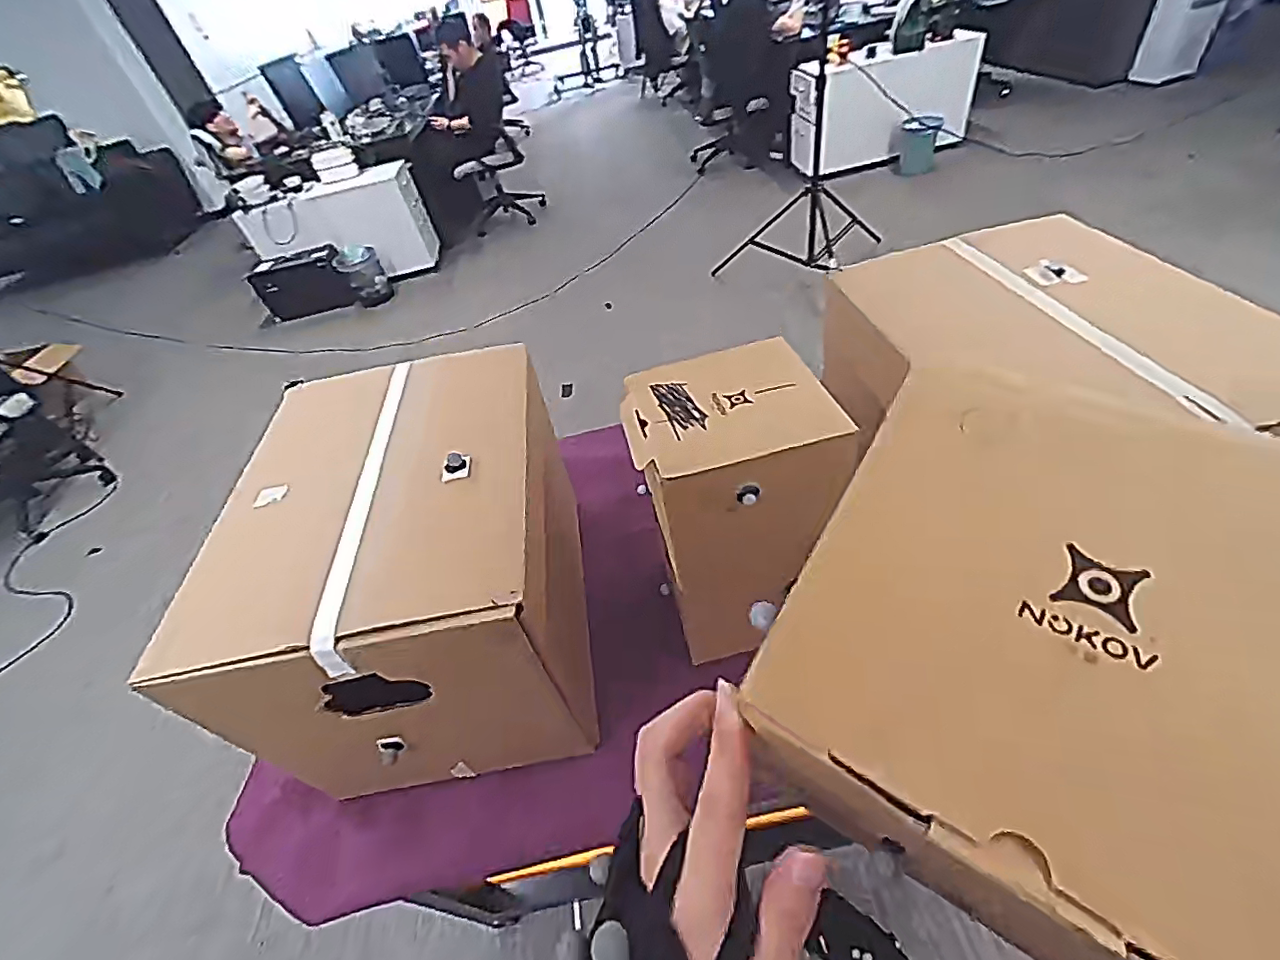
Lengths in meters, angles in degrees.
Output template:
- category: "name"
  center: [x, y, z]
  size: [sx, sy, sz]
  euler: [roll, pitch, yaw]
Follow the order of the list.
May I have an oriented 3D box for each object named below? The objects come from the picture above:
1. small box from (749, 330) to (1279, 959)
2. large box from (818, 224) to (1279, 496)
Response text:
- category: "small box"
  center: [0.157, 0.074, 0.228]
  size: [0.168, 0.176, 0.179]
  euler: [24, 66, 26]
- category: "large box"
  center: [0.439, -0.052, 0.644]
  size: [0.320, 0.320, 0.408]
  euler: [-12, 43, 0]
